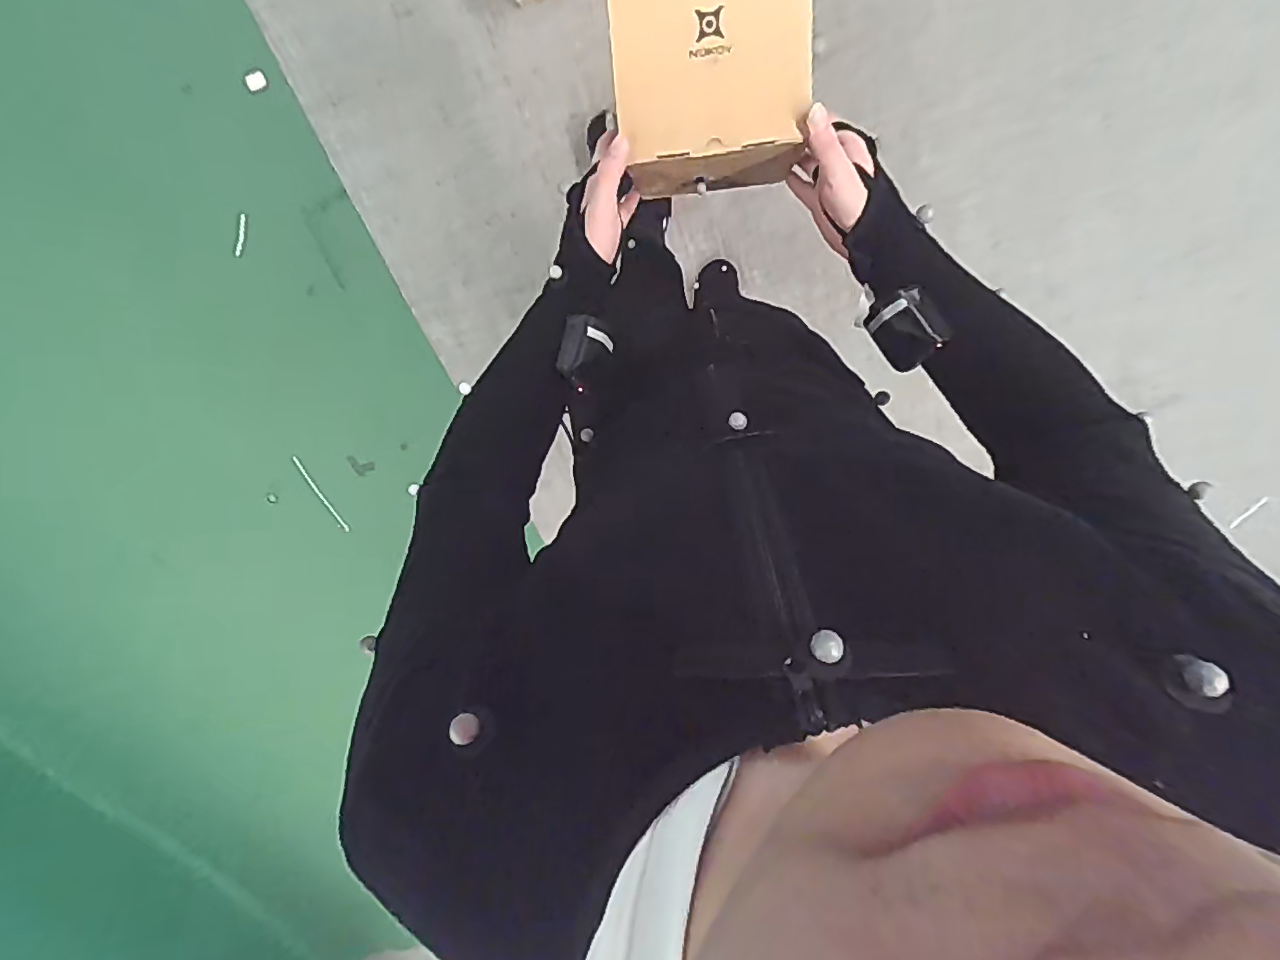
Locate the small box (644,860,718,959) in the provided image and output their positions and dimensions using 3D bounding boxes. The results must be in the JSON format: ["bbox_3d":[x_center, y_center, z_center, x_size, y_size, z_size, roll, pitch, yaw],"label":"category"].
[{"bbox_3d":[0.116,1.206,1.521,0.168,0.176,0.179,-16,119,11],"label":"small box"}]
